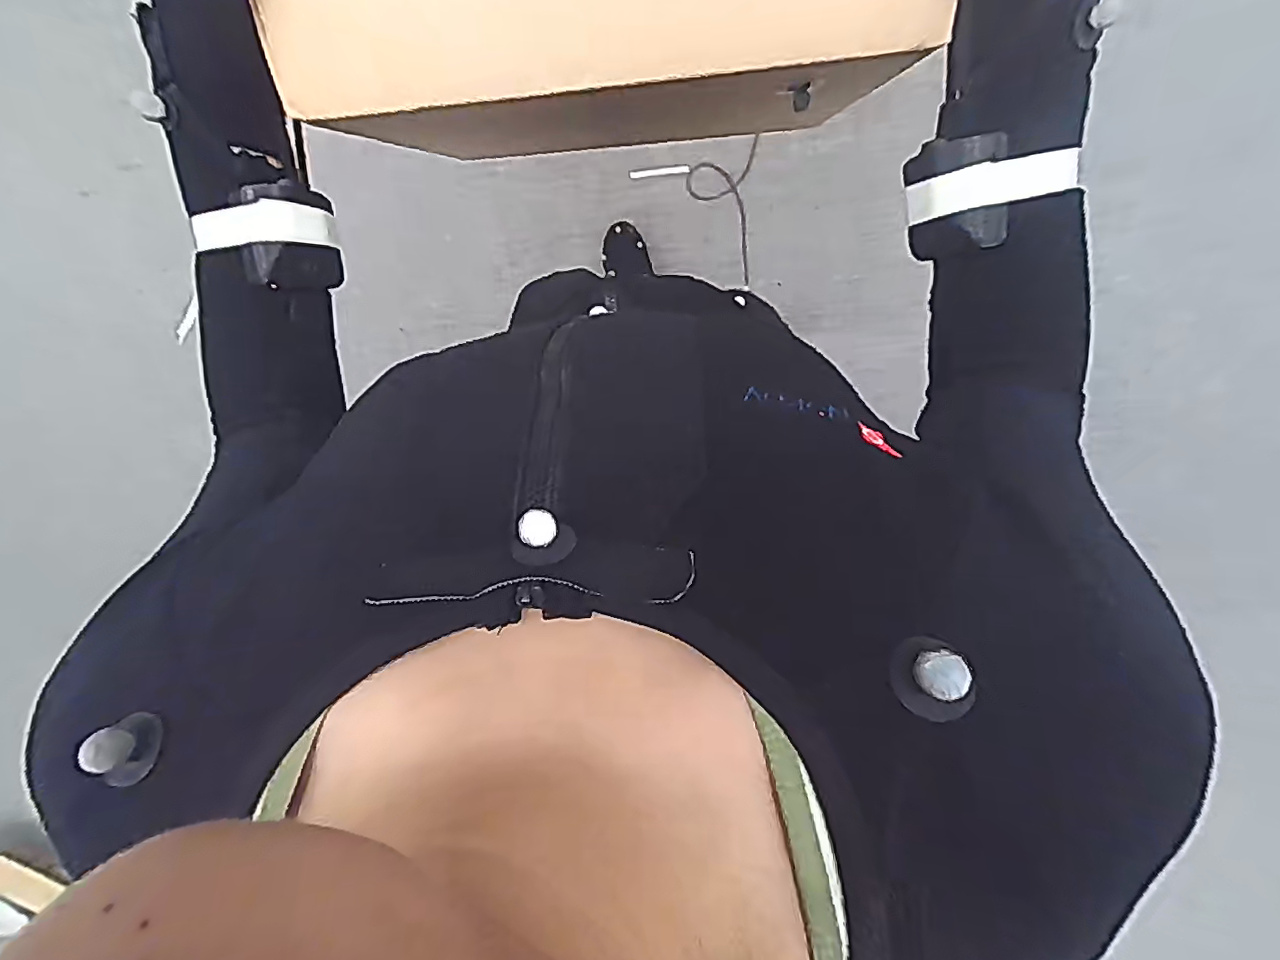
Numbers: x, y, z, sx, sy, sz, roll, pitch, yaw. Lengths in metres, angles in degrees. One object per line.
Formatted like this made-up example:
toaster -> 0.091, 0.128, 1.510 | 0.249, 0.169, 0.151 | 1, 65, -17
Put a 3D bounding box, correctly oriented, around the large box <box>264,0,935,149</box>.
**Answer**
large box -> -0.029, -0.452, 0.400 | 0.408, 0.320, 0.320 | -3, 116, 4
